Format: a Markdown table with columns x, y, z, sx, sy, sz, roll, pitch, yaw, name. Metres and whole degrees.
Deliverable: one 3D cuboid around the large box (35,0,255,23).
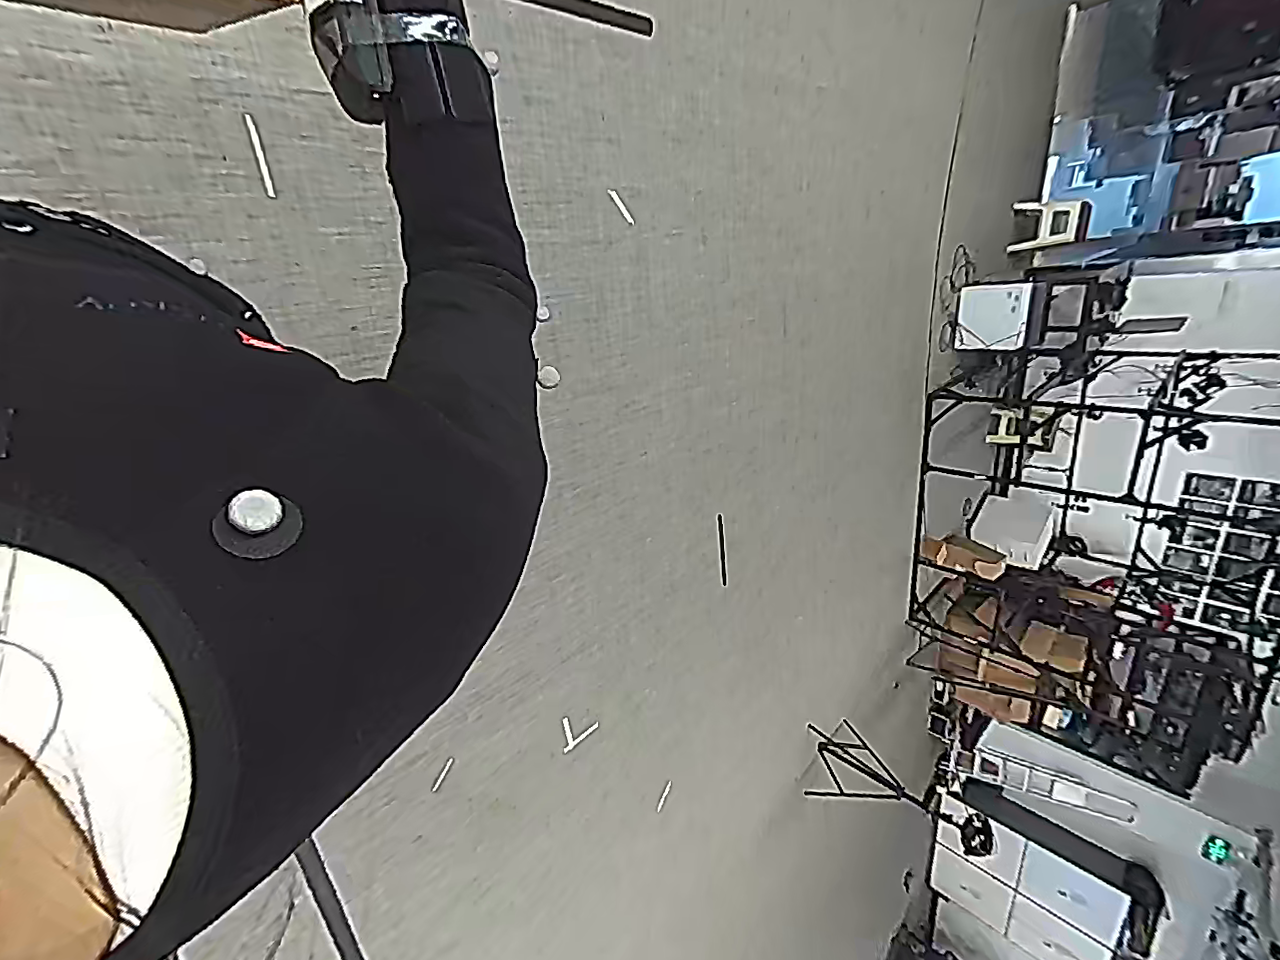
| x | y | z | sx | sy | sz | roll | pitch | yaw | name |
| --- | --- | --- | --- | --- | --- | --- | --- | --- | --- |
| -0.431 | -0.409 | 0.199 | 0.408 | 0.320 | 0.320 | -23 | 133 | -37 | large box |
